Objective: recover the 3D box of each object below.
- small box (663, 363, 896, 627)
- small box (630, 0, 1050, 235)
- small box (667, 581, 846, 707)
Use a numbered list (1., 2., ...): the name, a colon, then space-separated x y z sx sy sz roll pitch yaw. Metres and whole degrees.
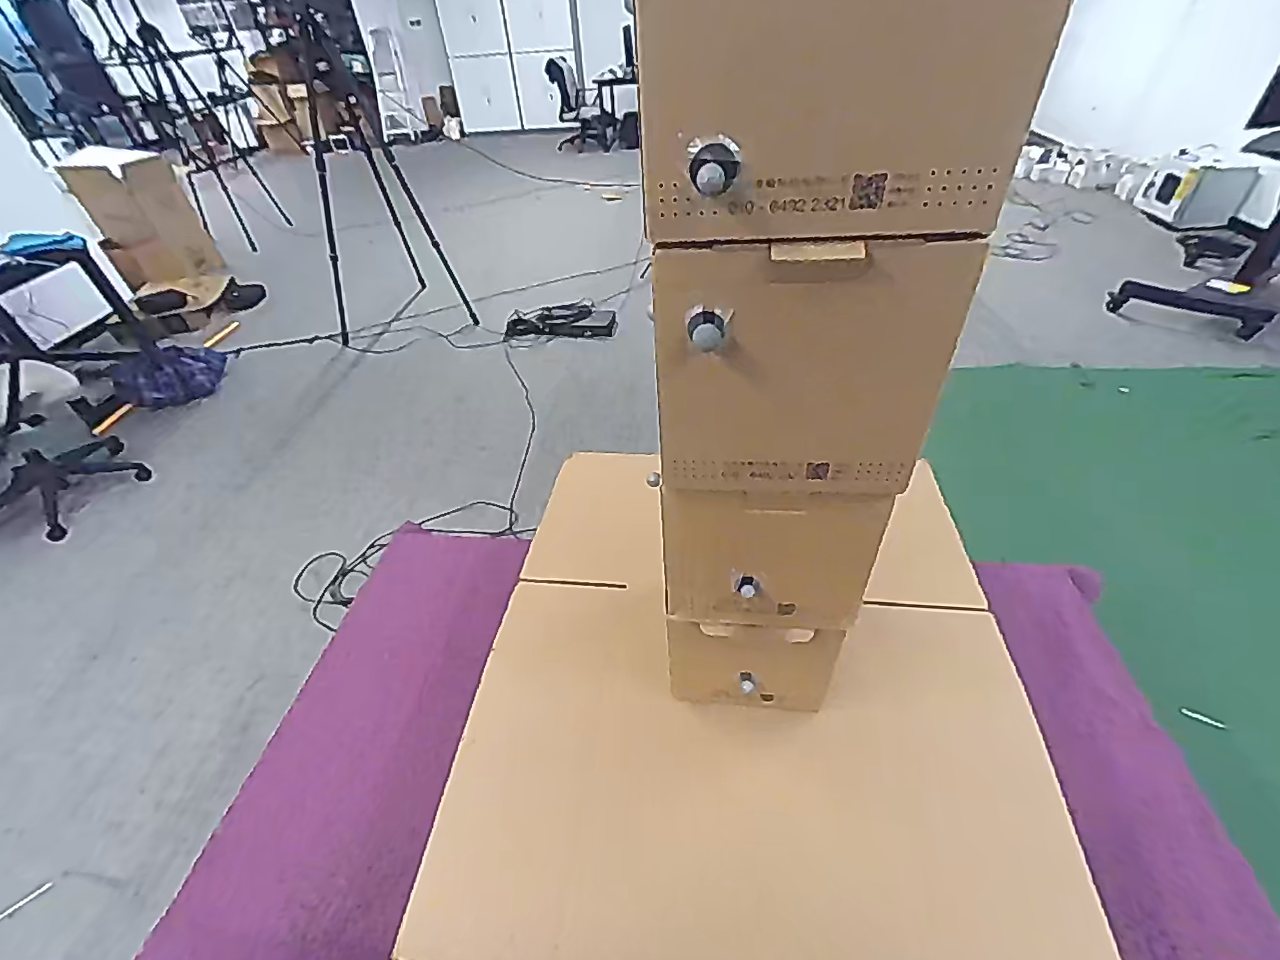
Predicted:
1. small box: 0.110 0.009 0.497 0.168 0.176 0.179 1 42 7
2. small box: 0.087 -0.232 0.273 0.168 0.176 0.179 1 41 7
3. small box: 0.122 0.126 0.610 0.168 0.176 0.179 2 42 9
